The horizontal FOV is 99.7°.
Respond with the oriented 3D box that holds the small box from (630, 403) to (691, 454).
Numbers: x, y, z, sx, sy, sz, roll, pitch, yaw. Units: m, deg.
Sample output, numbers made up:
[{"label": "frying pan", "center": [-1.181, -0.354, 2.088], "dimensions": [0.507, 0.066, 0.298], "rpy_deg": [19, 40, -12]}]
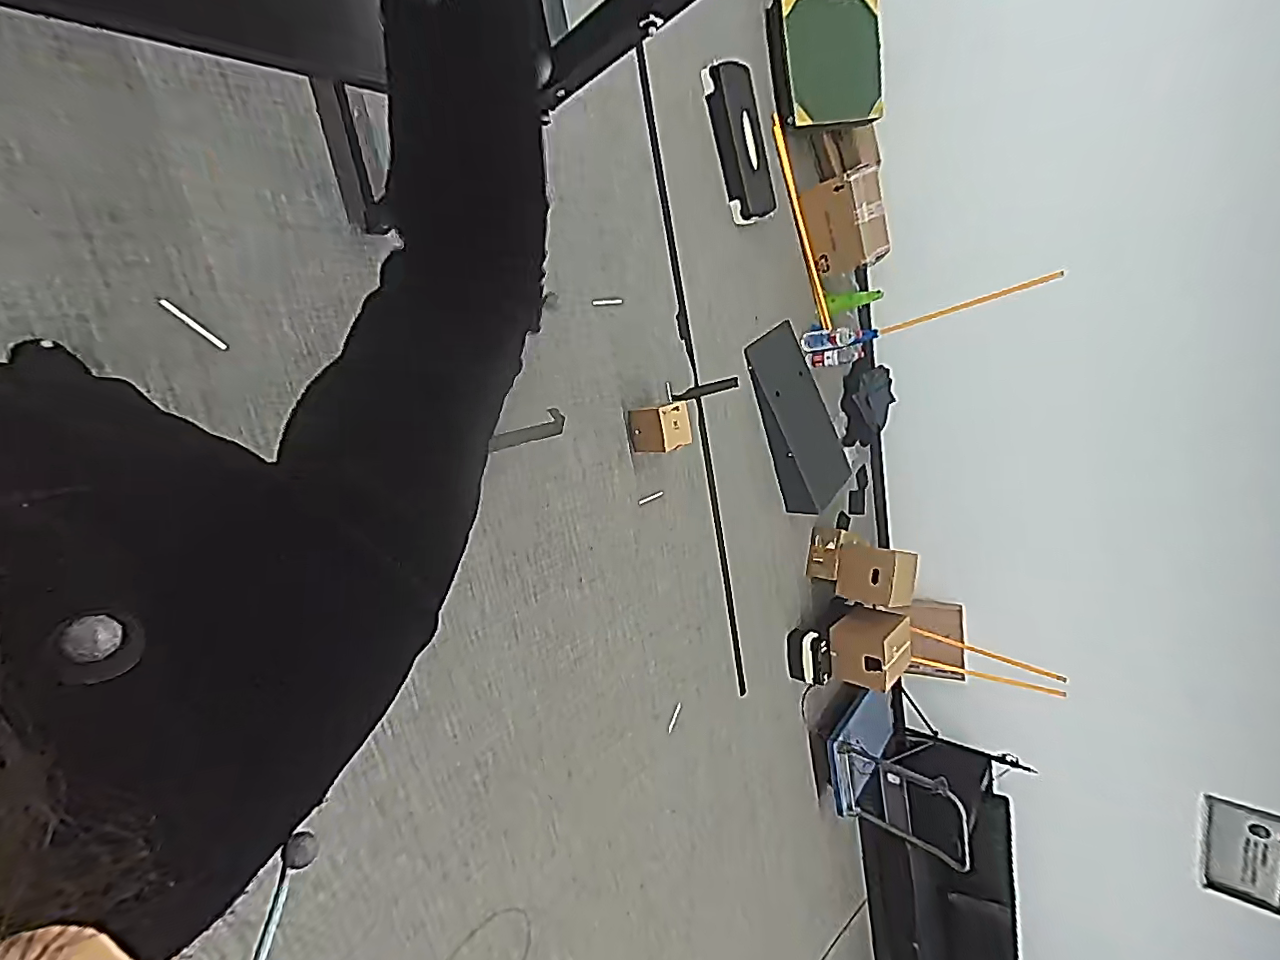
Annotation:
[{"label": "small box", "center": [0.079, -0.207, 2.162], "dimensions": [0.168, 0.176, 0.179], "rpy_deg": [-22, 109, -43]}]
